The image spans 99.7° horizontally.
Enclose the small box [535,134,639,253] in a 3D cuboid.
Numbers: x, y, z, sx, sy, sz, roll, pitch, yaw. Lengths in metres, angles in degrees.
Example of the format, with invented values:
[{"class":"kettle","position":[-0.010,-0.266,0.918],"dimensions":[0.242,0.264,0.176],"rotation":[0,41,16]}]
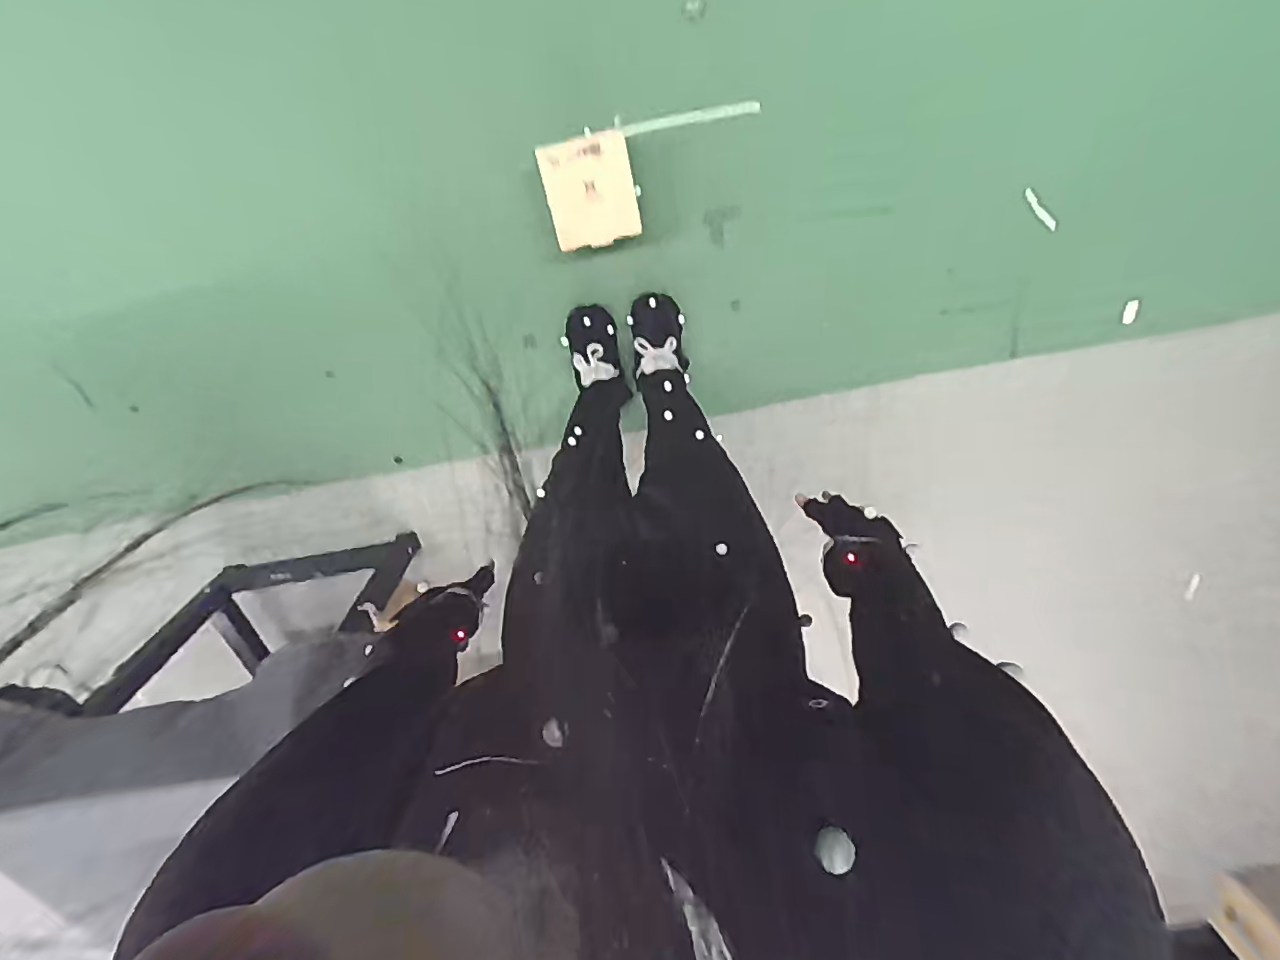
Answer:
[{"class":"small box","position":[-0.097,-0.570,1.077],"dimensions":[0.168,0.176,0.179],"rotation":[-11,119,4]}]
